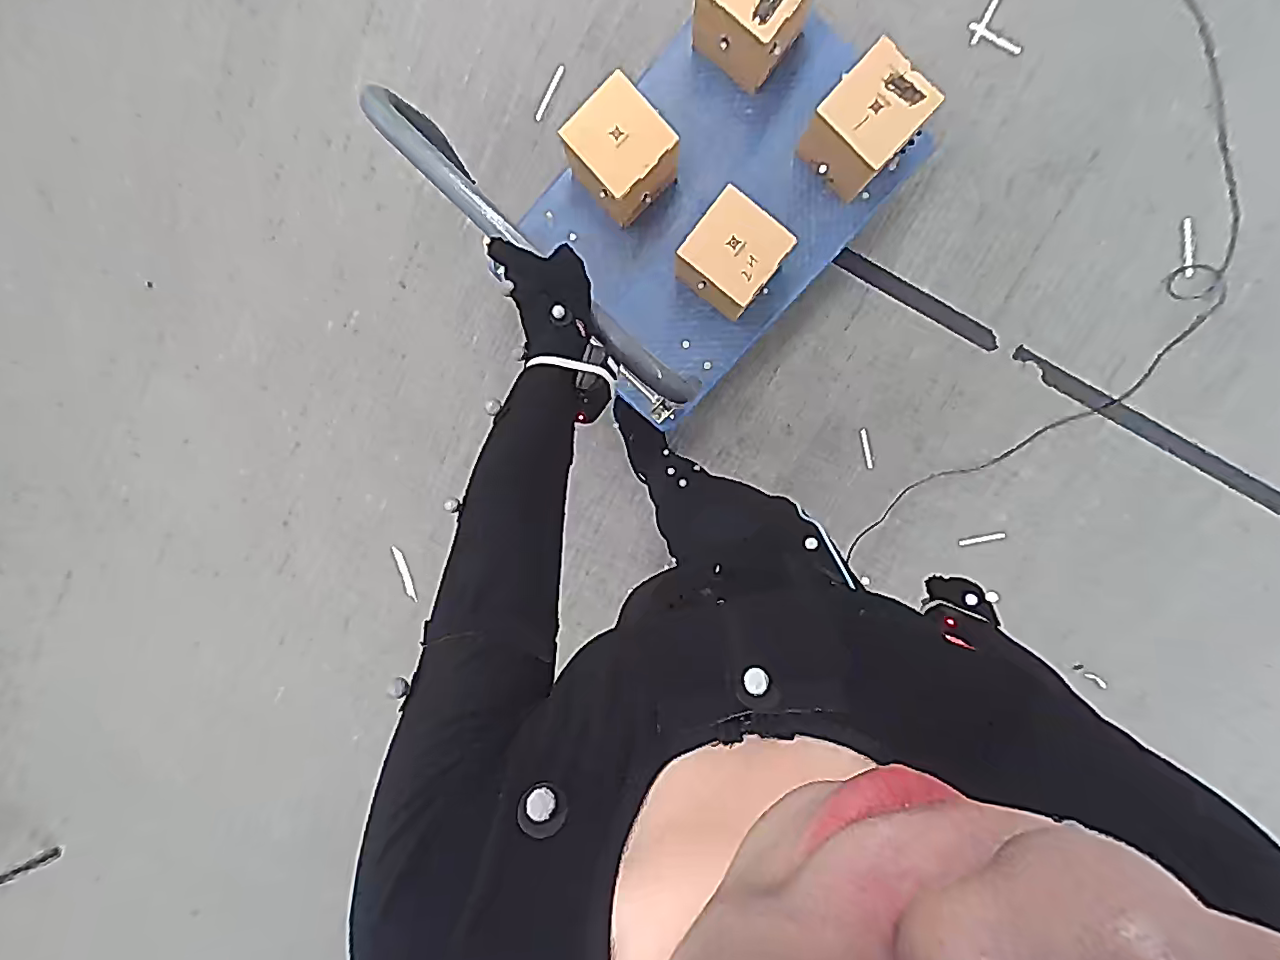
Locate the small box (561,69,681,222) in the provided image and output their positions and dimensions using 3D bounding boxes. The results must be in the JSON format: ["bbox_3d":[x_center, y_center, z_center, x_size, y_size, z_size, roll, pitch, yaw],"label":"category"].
[{"bbox_3d":[-0.037,-0.674,1.116,0.168,0.176,0.179,-43,95,6],"label":"small box"}]

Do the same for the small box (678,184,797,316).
[{"bbox_3d":[0.192,-0.466,1.131,0.179,0.176,0.168,39,97,-2],"label":"small box"}]

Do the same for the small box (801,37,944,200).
[{"bbox_3d":[0.454,-0.712,1.089,0.168,0.176,0.179,44,98,-3],"label":"small box"}]
